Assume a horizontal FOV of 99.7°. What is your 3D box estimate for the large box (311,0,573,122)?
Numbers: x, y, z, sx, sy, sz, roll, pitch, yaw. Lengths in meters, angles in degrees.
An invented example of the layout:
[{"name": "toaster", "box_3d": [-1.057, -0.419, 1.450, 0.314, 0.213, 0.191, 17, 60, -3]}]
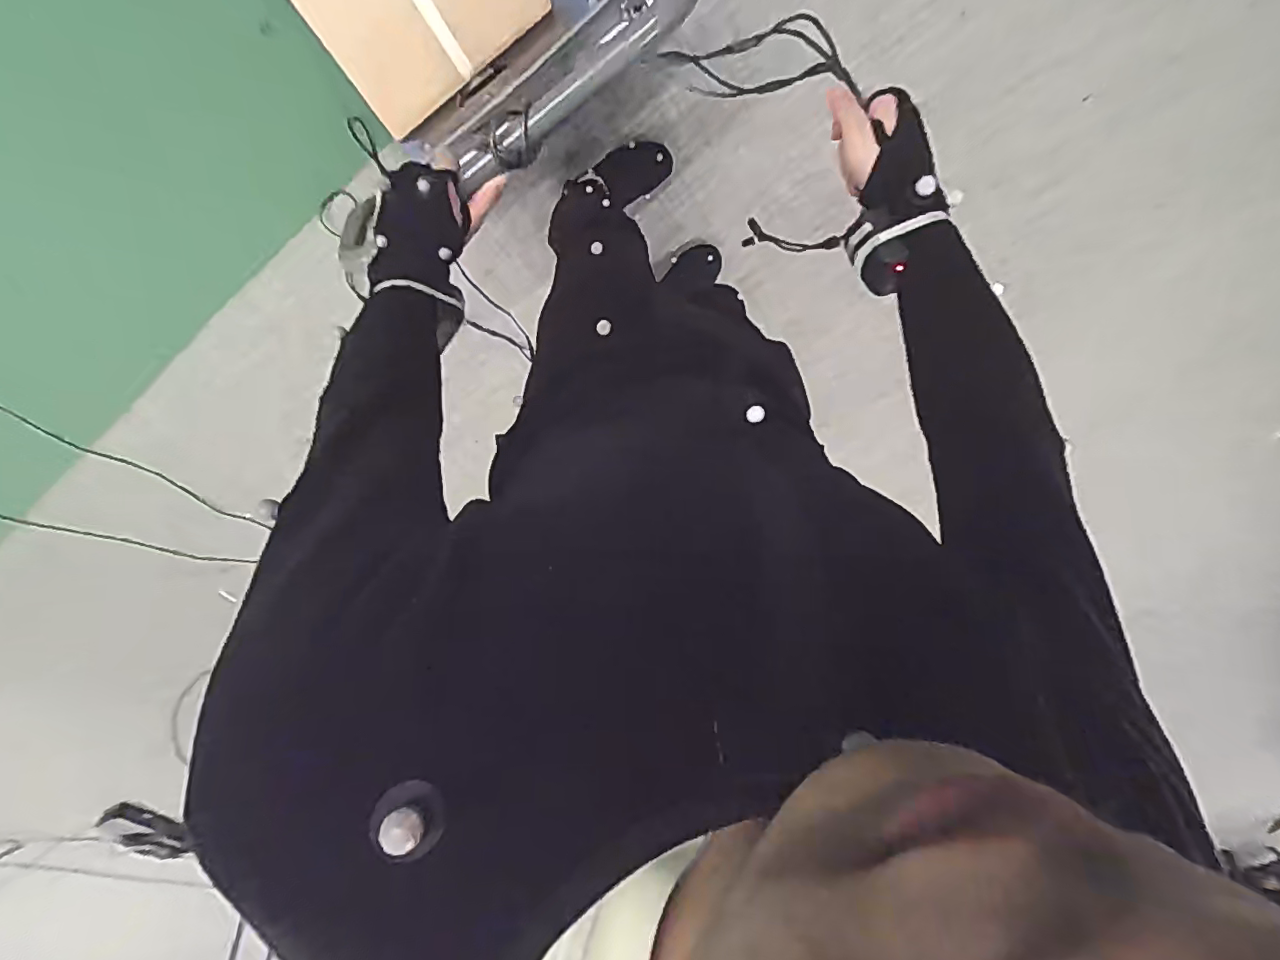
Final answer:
[{"name": "large box", "box_3d": [-0.349, -0.845, 0.830, 0.320, 0.320, 0.408, -27, 121, 15]}]
